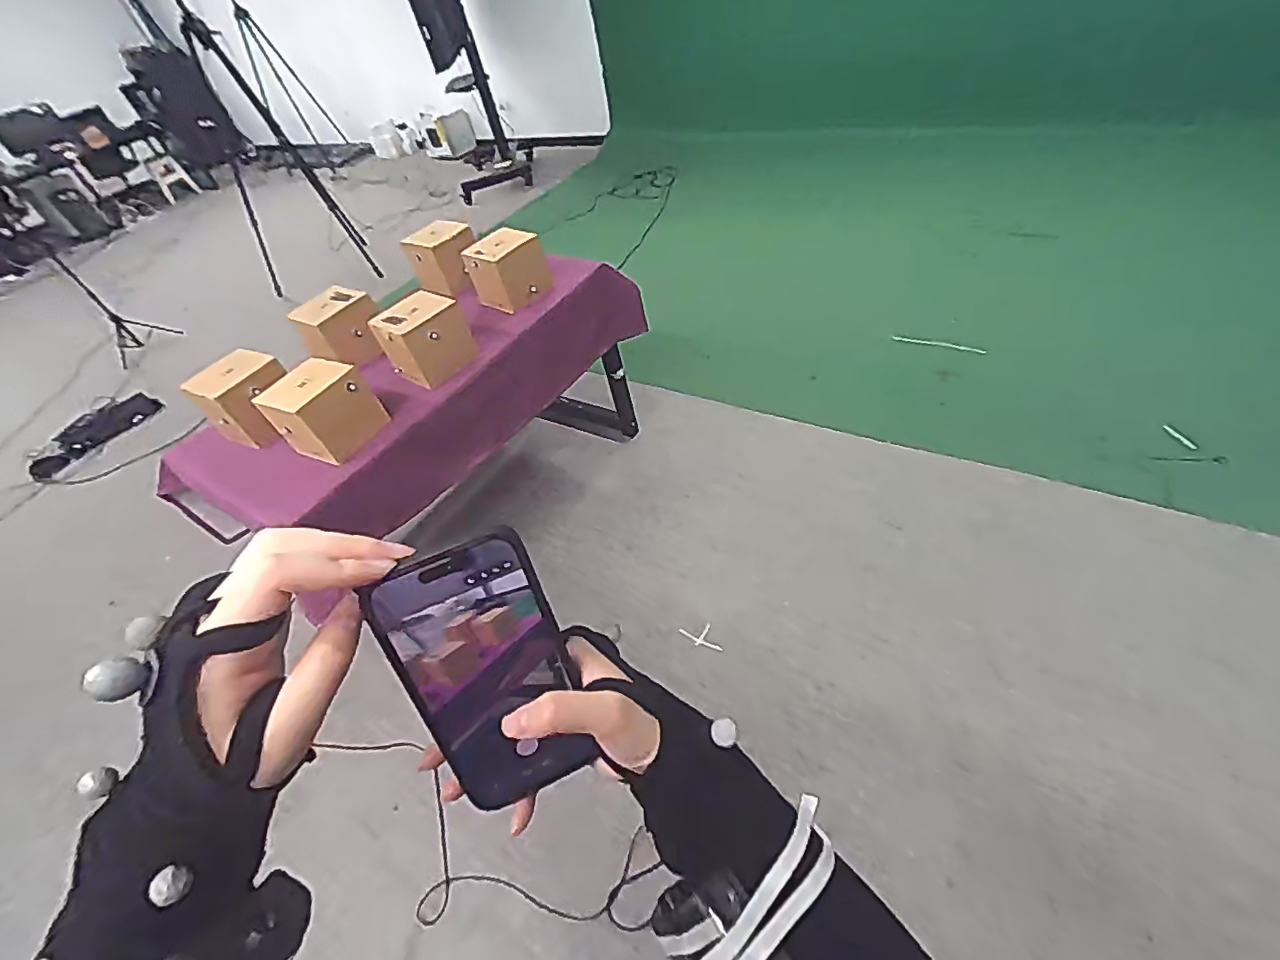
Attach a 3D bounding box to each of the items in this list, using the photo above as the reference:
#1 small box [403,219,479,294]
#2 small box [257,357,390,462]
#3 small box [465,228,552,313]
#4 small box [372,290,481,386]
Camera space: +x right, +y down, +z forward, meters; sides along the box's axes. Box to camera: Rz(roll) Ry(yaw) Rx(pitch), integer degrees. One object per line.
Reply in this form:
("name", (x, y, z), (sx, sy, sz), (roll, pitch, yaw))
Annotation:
("small box", (-0.637, -0.739, 1.791), (0.179, 0.176, 0.168), (24, 57, 30))
("small box", (-0.737, -0.166, 1.281), (0.168, 0.176, 0.179), (14, 51, 25))
("small box", (-0.387, -0.634, 1.633), (0.168, 0.176, 0.179), (26, 58, 33))
("small box", (-0.557, -0.374, 1.431), (0.168, 0.176, 0.179), (26, 57, 32))
